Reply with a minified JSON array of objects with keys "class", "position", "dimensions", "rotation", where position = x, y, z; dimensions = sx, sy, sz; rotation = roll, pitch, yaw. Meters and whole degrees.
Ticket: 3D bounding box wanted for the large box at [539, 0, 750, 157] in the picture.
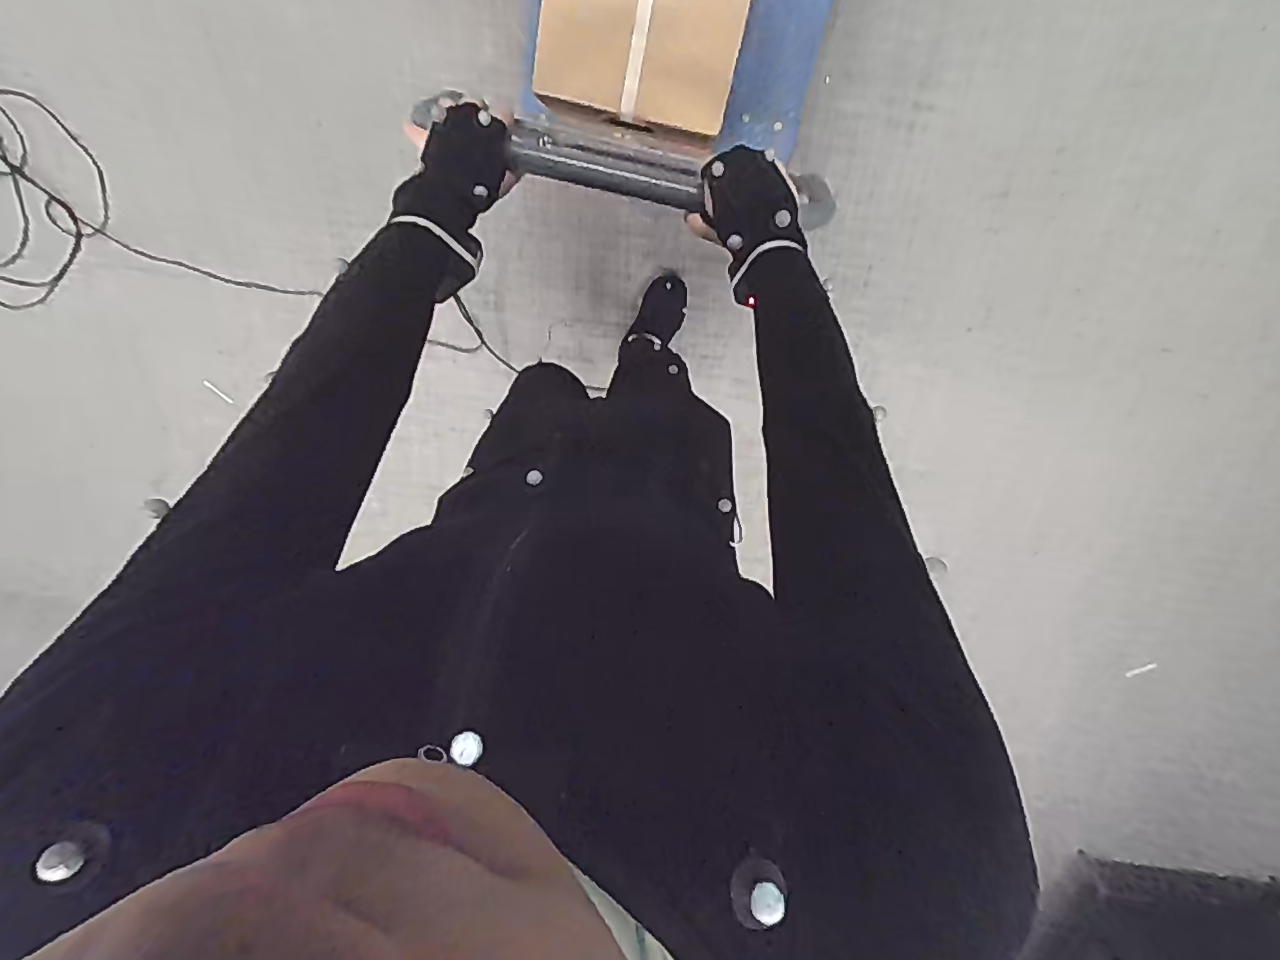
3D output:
[{"class":"large box","position":[0.030,-0.843,0.951],"dimensions":[0.320,0.320,0.408],"rotation":[12,113,-2]}]
